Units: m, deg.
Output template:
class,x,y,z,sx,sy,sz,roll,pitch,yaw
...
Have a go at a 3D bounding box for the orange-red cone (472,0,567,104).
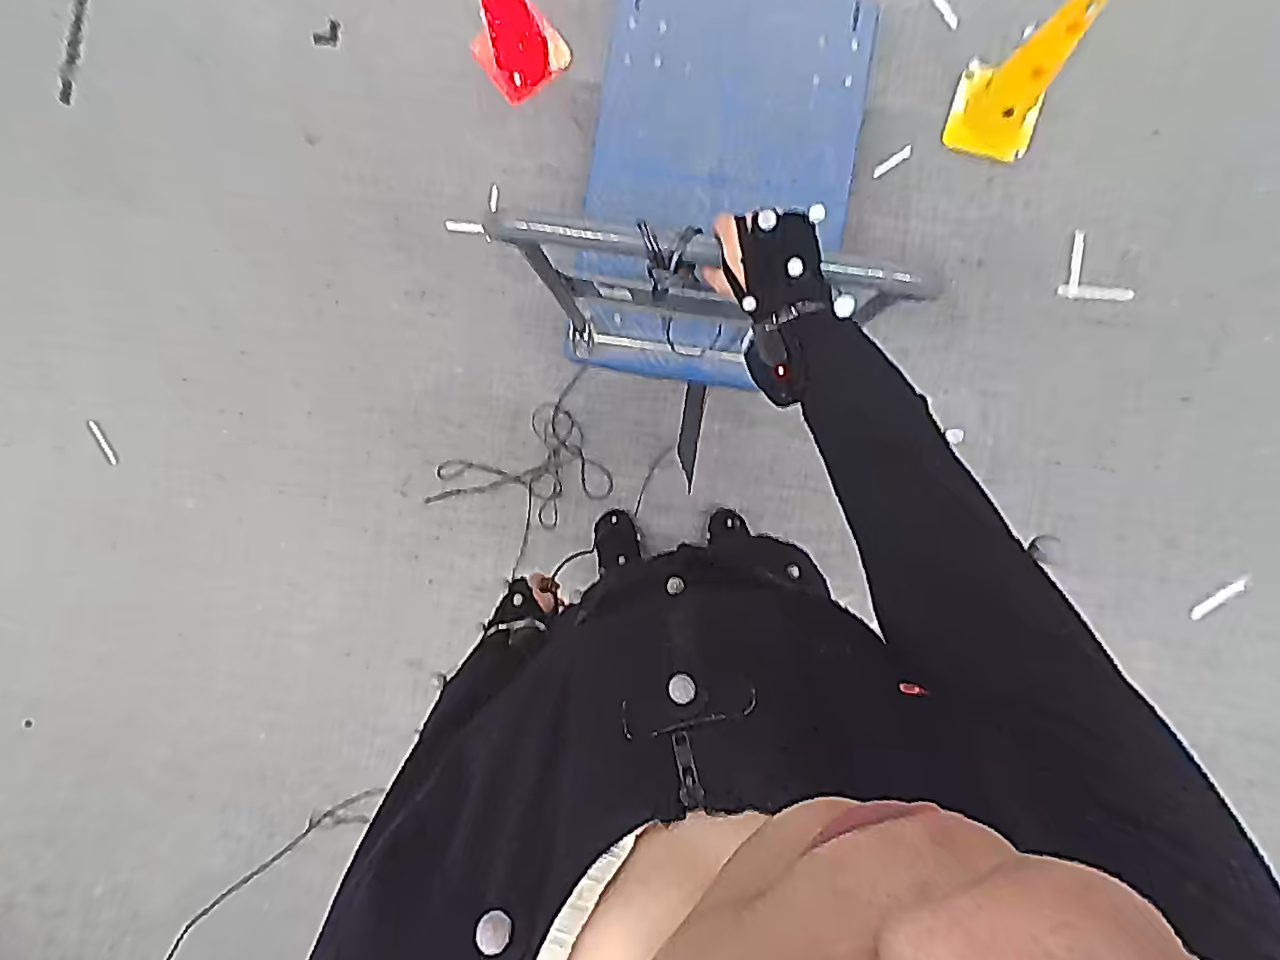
class,x,y,z,sx,sy,sz,roll,pitch,yaw
orange-red cone,-0.318,-1.097,1.223,0.199,0.360,0.198,-36,89,2
